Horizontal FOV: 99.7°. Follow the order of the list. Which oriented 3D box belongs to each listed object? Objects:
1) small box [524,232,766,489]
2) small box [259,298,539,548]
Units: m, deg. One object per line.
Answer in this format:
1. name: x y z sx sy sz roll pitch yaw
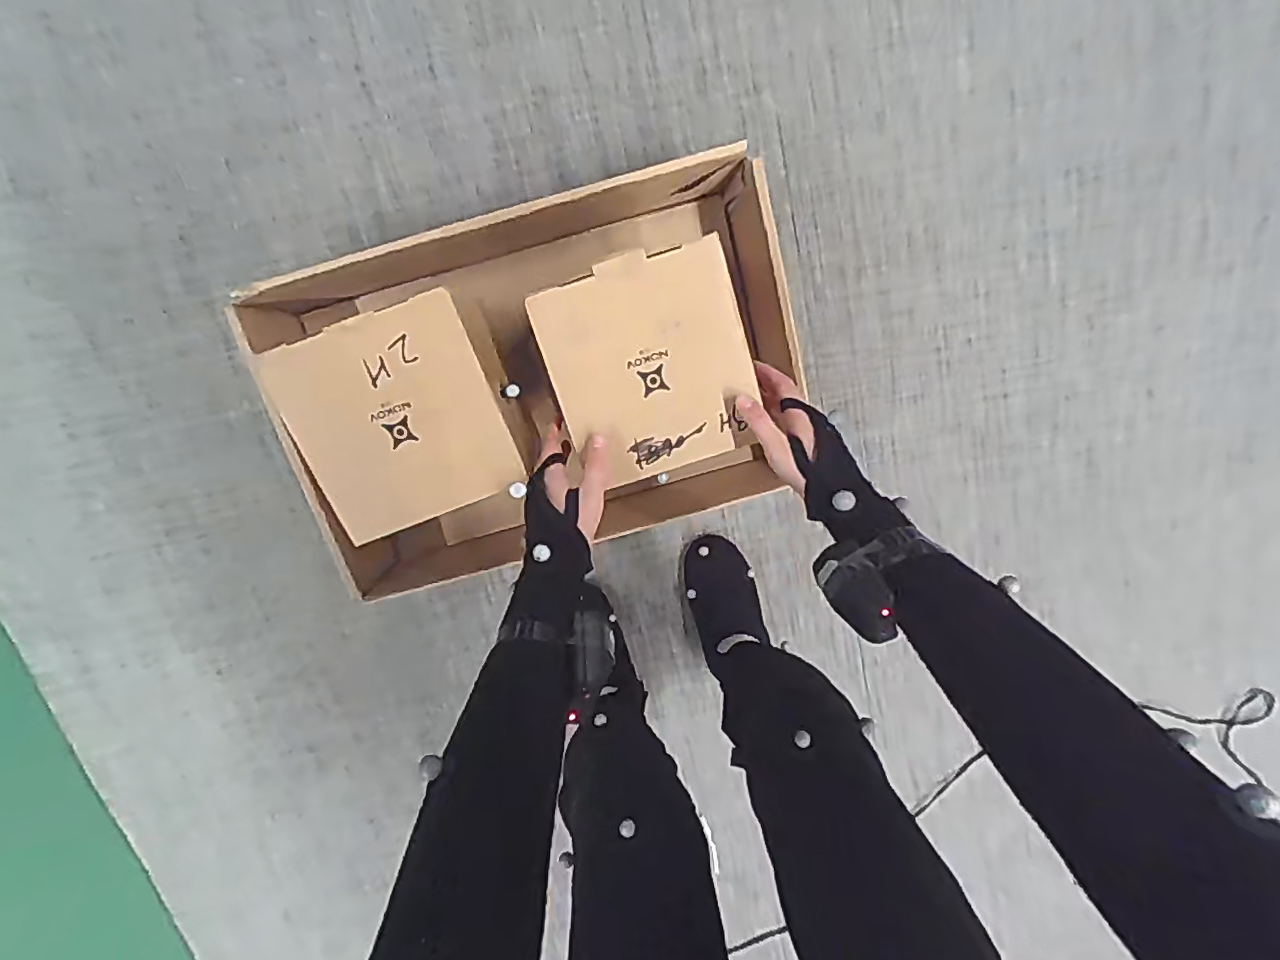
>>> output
1. small box: 0.005 -0.113 0.529 0.168 0.176 0.179 -18 104 4
2. small box: -0.210 -0.064 0.534 0.168 0.176 0.179 -22 106 0
